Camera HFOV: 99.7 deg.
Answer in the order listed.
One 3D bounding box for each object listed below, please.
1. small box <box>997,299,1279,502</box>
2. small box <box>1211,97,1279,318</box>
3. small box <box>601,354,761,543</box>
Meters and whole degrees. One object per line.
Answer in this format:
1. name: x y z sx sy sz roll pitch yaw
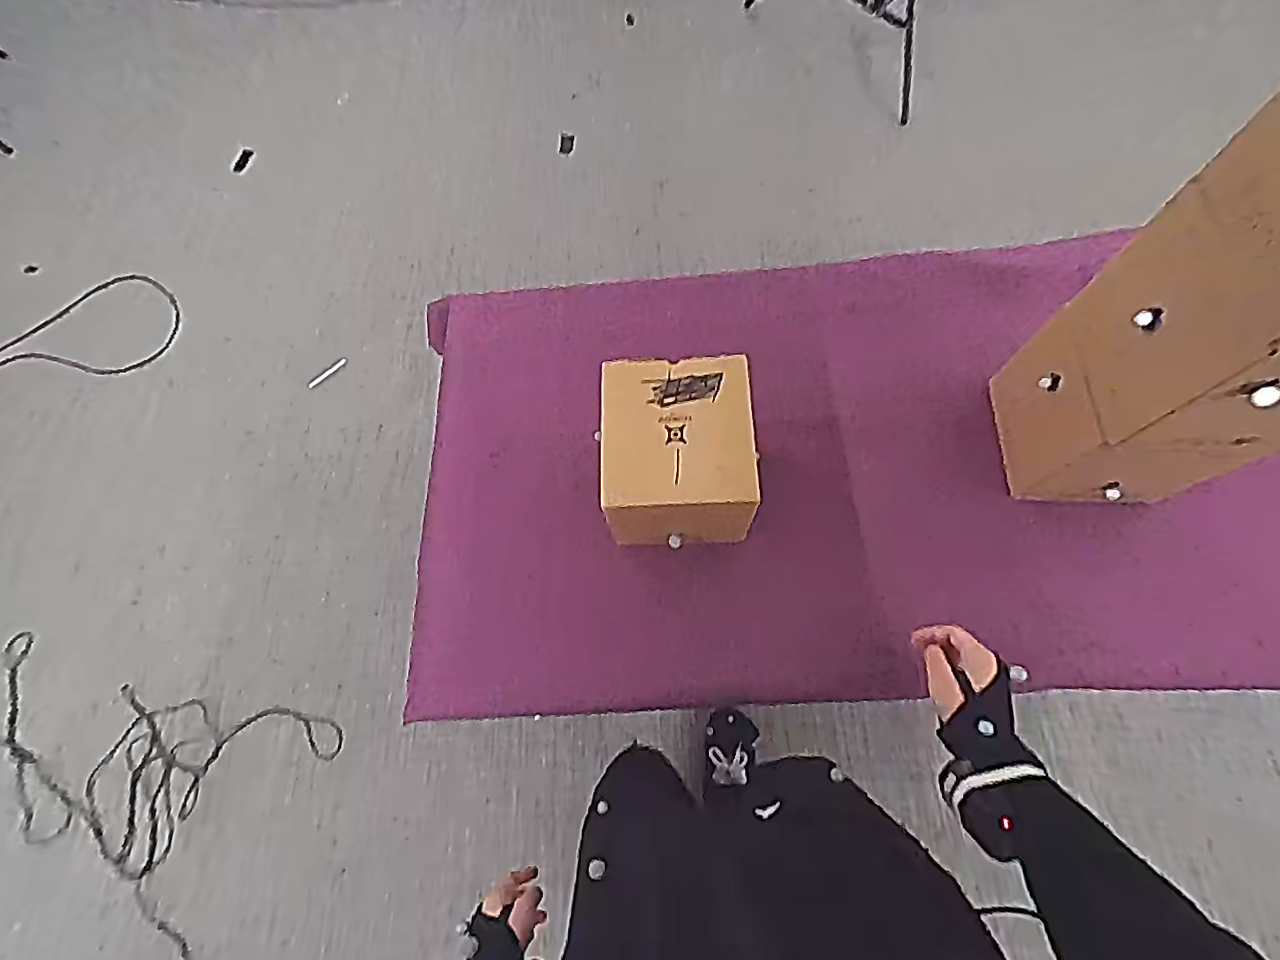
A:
1. small box: 0.551 -0.086 0.629 0.168 0.176 0.179 1 70 6
2. small box: 0.519 -0.195 0.322 0.168 0.176 0.179 3 68 5
3. small box: 0.047 -0.030 0.652 0.168 0.176 0.179 -2 70 4
